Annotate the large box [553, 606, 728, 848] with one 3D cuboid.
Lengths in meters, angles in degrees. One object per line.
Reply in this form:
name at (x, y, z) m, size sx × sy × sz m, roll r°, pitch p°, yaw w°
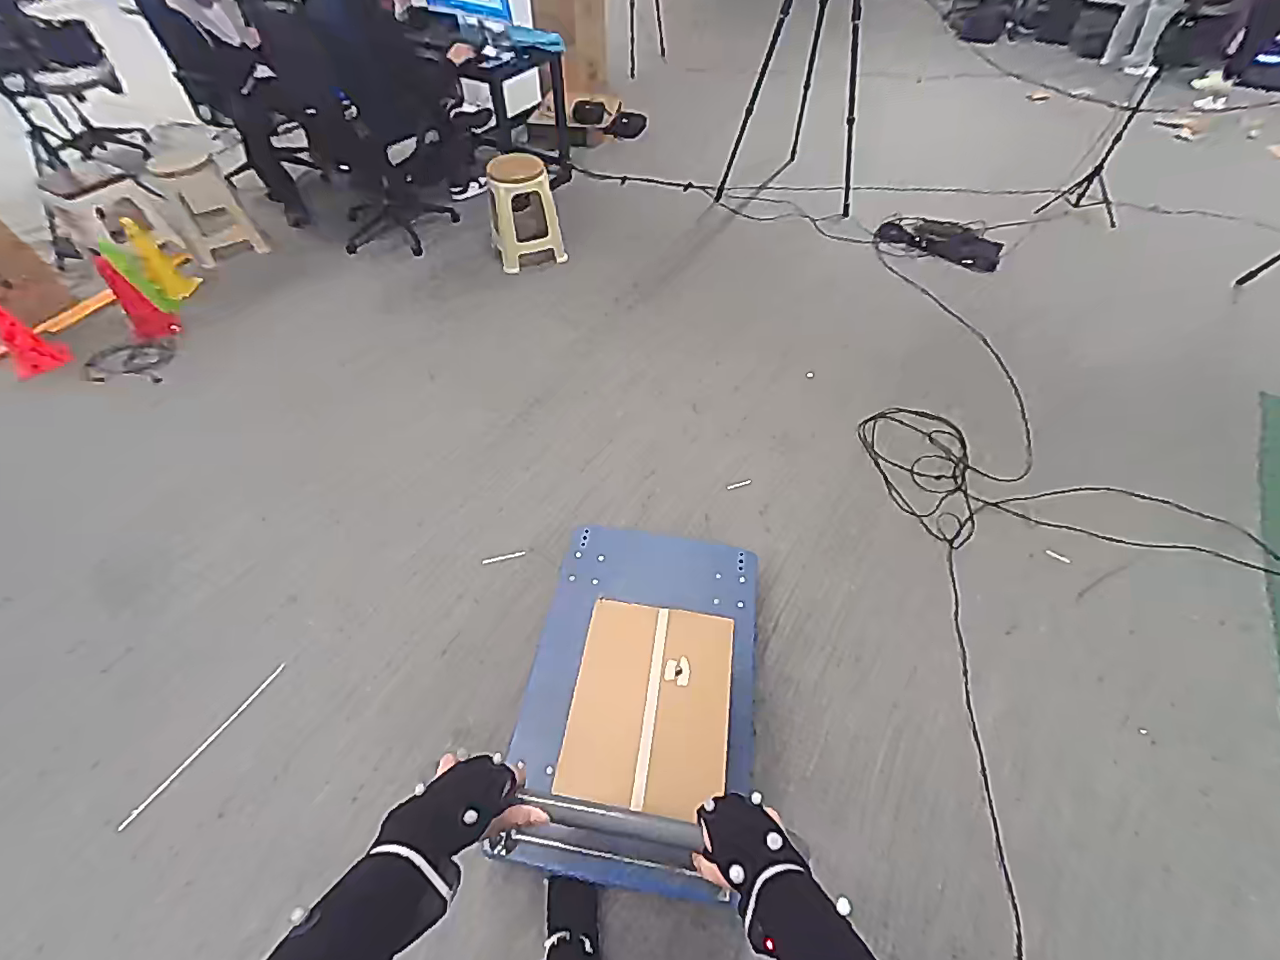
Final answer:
large box at (0.017, 0.553, 1.214) m, size 0.320 × 0.320 × 0.408 m, roll 8°, pitch 51°, yaw 5°
